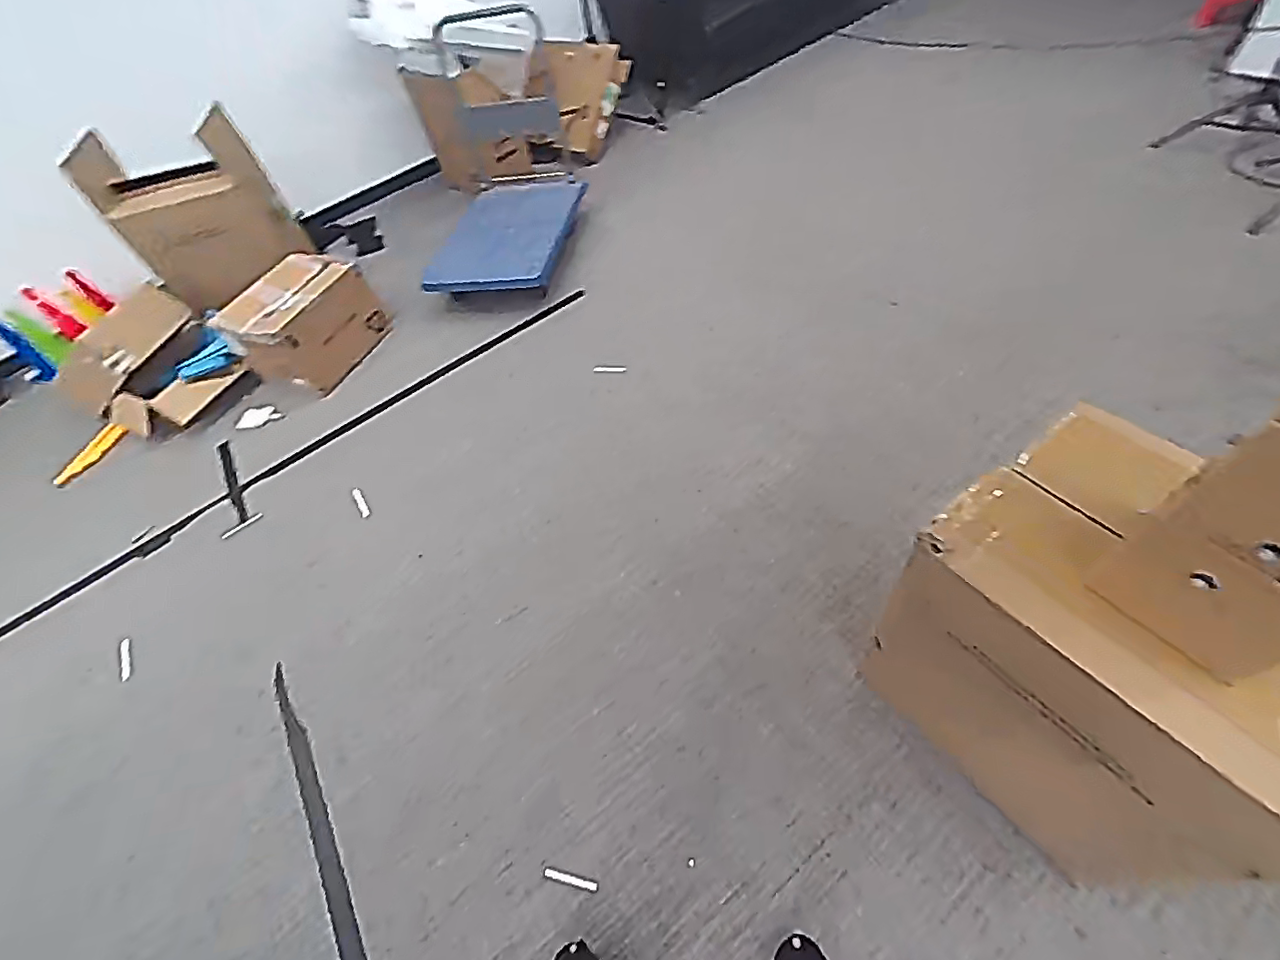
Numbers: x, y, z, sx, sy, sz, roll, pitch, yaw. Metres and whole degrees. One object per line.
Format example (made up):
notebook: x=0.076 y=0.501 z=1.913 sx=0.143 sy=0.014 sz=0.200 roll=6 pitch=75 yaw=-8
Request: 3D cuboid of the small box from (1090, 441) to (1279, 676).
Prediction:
small box: x=0.691 y=0.094 z=0.630 sx=0.168 sy=0.176 sz=0.179 roll=-33 pitch=54 yaw=-12
